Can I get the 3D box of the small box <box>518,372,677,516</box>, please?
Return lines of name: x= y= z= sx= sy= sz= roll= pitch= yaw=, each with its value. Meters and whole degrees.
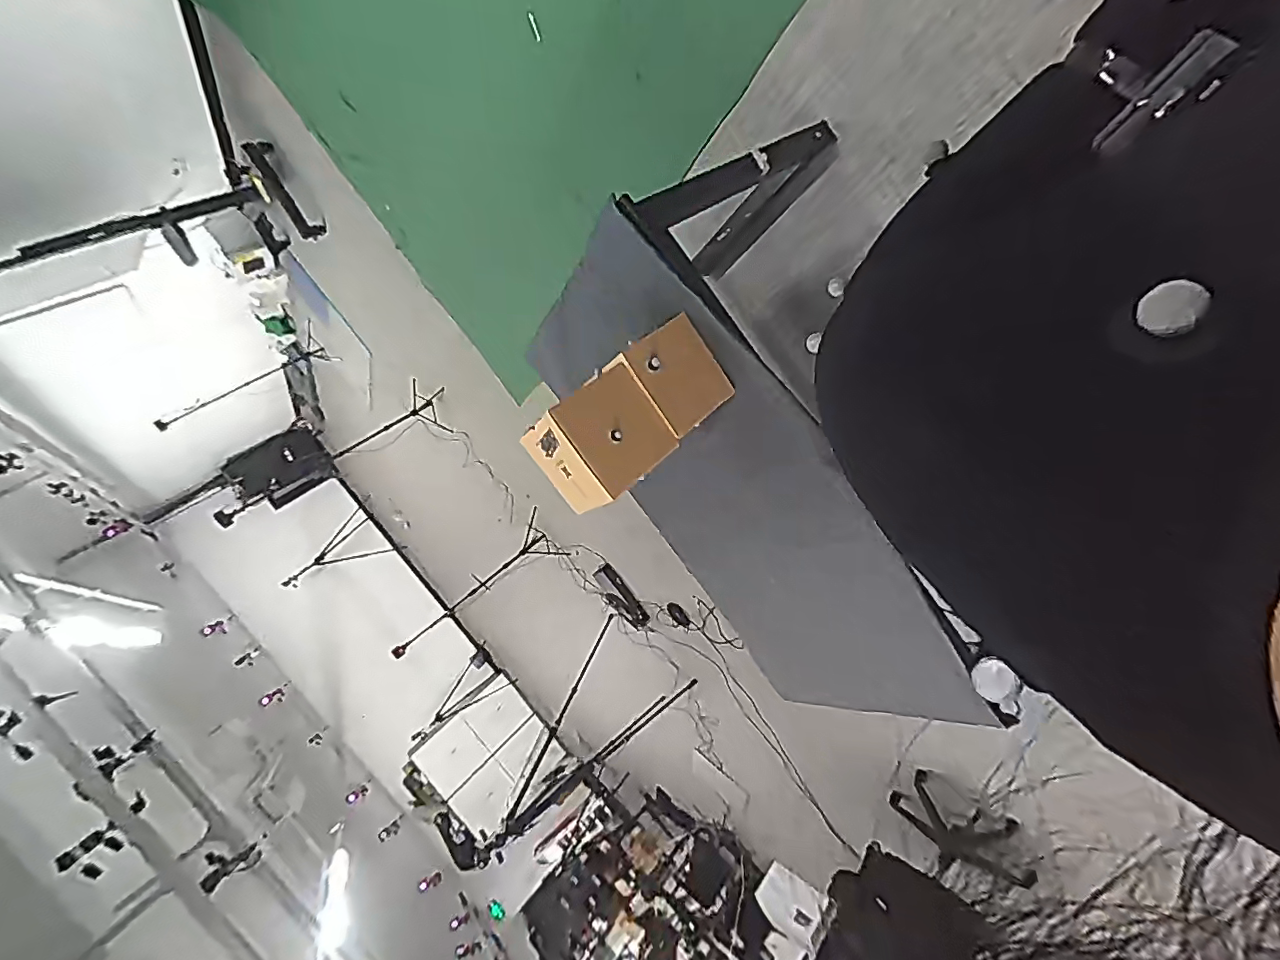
small box: x=-0.072 y=-0.065 z=0.930 sx=0.179 sy=0.176 sz=0.168 roll=53 pitch=150 yaw=-9

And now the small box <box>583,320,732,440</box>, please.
small box: x=0.033 y=-0.172 z=0.999 sx=0.179 sy=0.176 sz=0.168 roll=54 pitch=151 yaw=-9
